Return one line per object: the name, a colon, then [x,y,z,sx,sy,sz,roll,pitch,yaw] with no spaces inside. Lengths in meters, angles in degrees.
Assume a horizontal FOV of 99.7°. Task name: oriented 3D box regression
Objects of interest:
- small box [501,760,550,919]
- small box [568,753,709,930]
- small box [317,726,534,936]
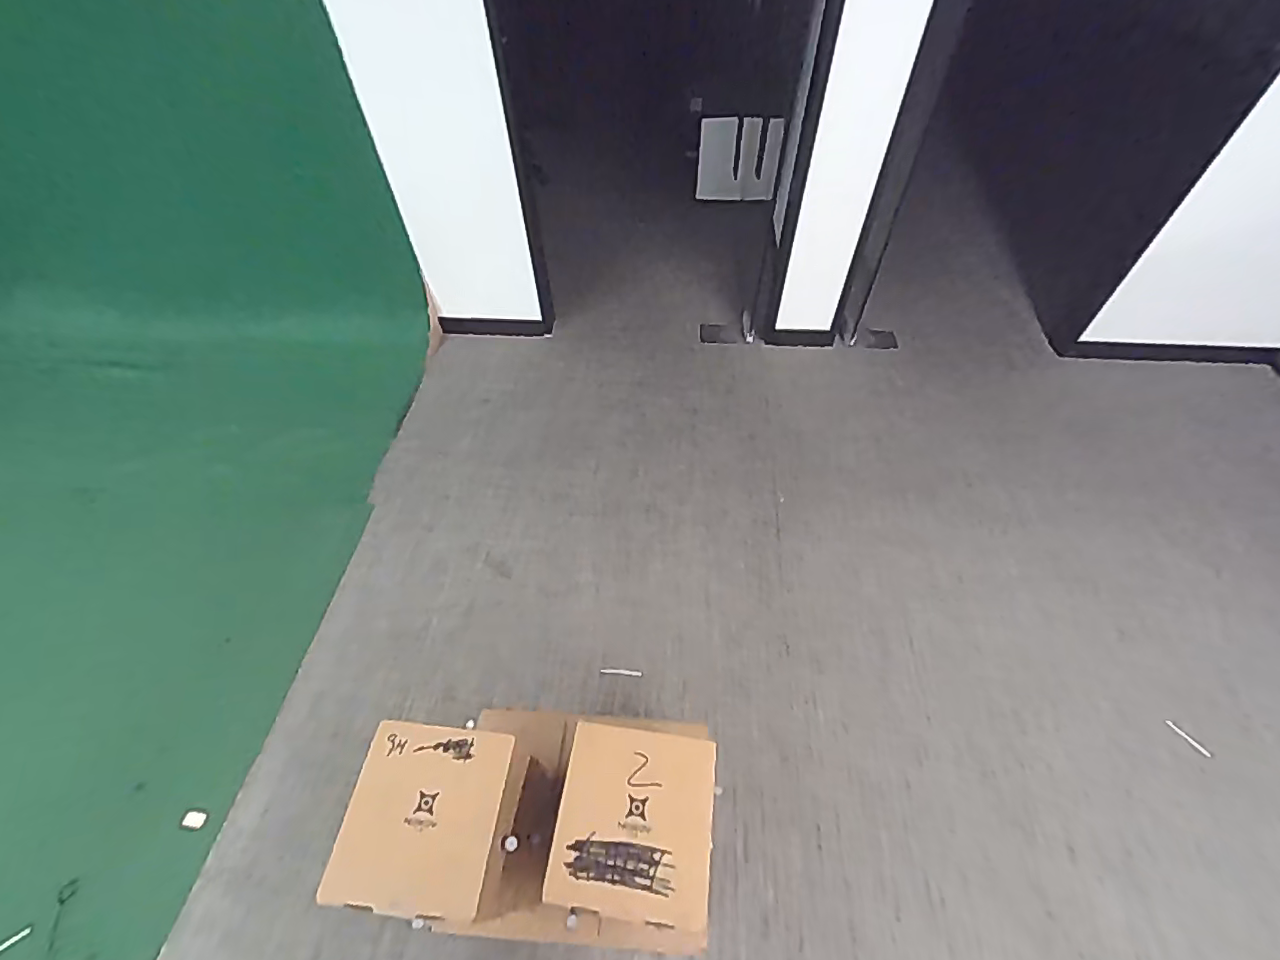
small box: [-0.230,0.509,0.778,0.168,0.176,0.179,4,53,3]
small box: [0.007,0.512,0.768,0.168,0.176,0.179,5,51,7]
small box: [-0.232,0.413,0.645,0.168,0.176,0.179,5,54,4]
